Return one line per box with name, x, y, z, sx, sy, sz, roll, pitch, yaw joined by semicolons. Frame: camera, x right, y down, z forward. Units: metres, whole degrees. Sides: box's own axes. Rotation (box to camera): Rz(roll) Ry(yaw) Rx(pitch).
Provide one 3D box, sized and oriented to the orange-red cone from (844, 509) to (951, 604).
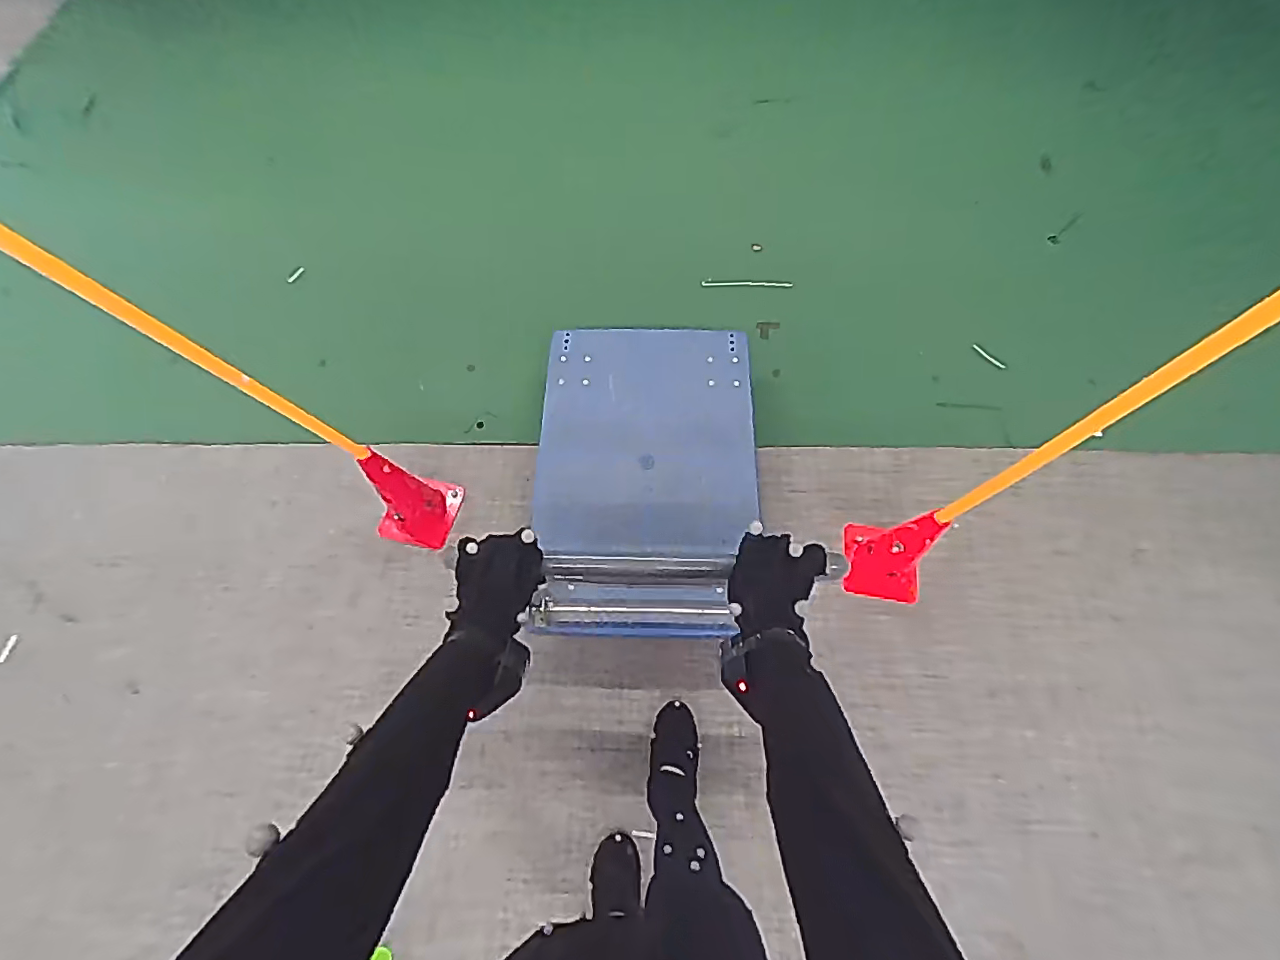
orange-red cone;0.651;0.153;1.307;0.198;0.360;0.199;10;67;7
